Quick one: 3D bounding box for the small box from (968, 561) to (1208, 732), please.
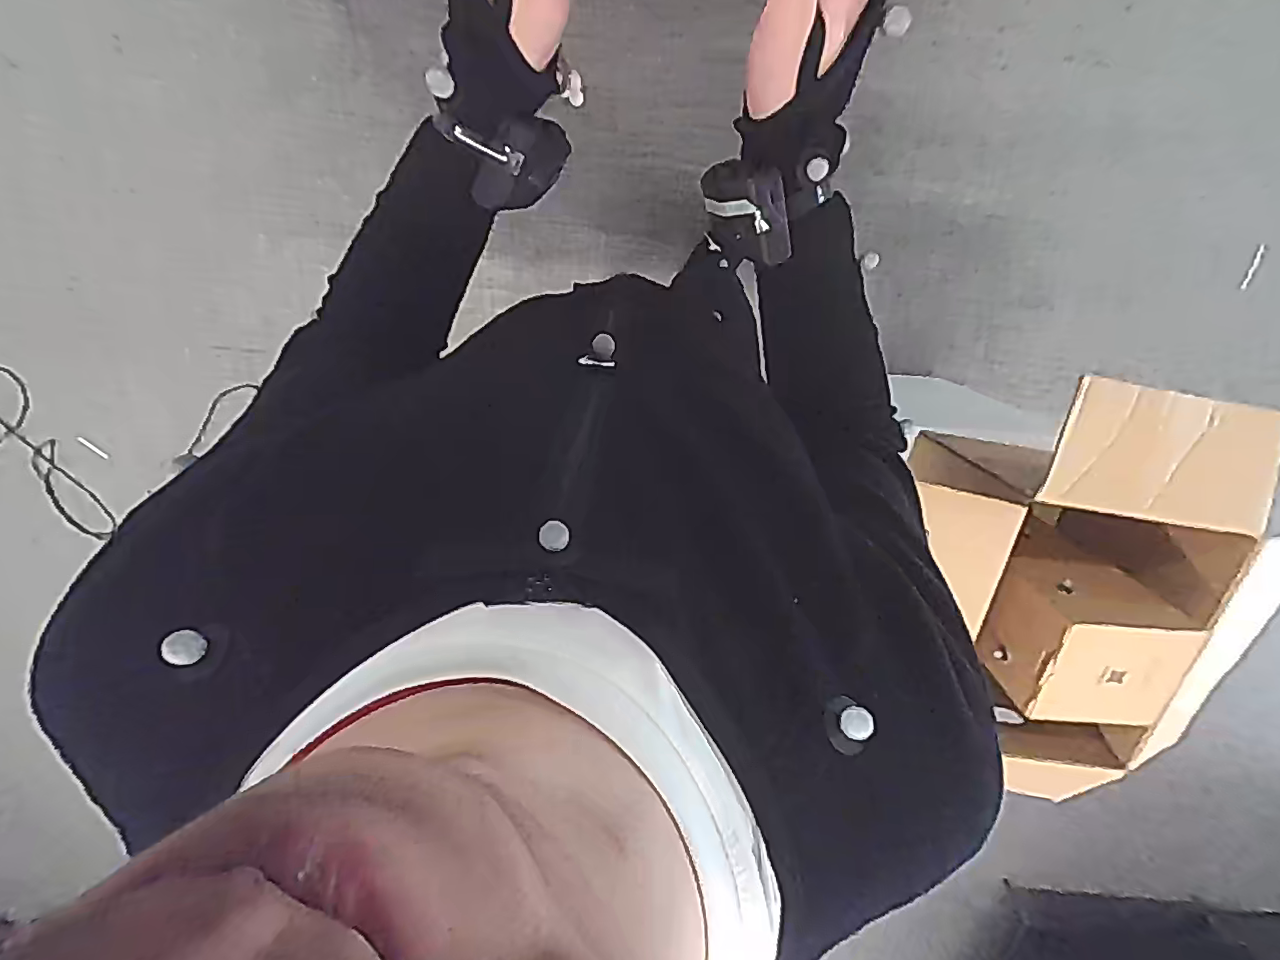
[{"bbox_3d":[0.616,0.230,0.775,0.179,0.176,0.168,3,114,-2],"label":"small box"}]
